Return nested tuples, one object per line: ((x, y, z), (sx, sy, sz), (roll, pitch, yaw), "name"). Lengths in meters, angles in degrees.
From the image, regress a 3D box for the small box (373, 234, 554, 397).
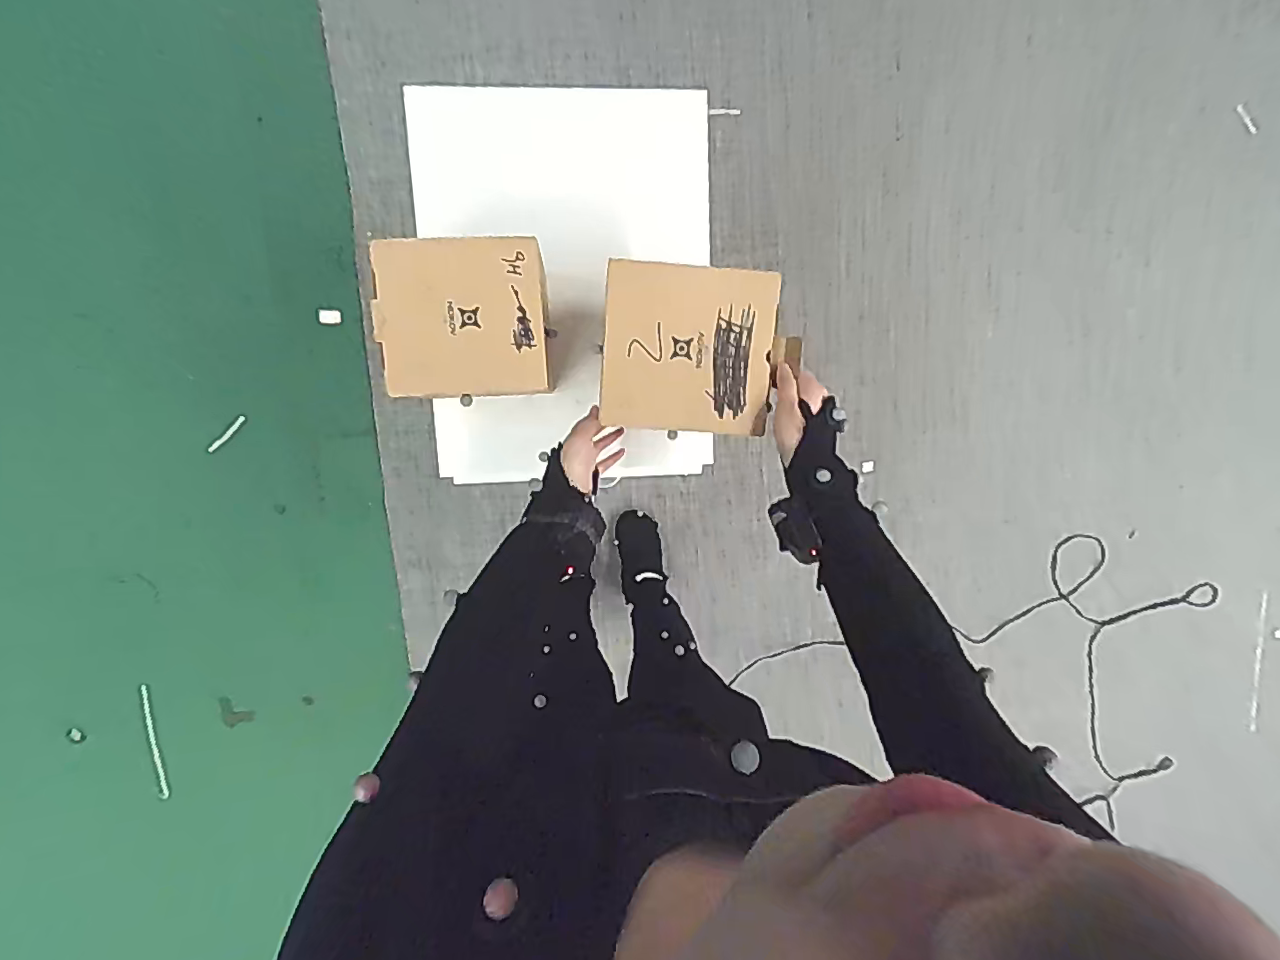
((-0.200, -0.189, 0.662), (0.179, 0.176, 0.168), (-4, 98, -7), "small box")
